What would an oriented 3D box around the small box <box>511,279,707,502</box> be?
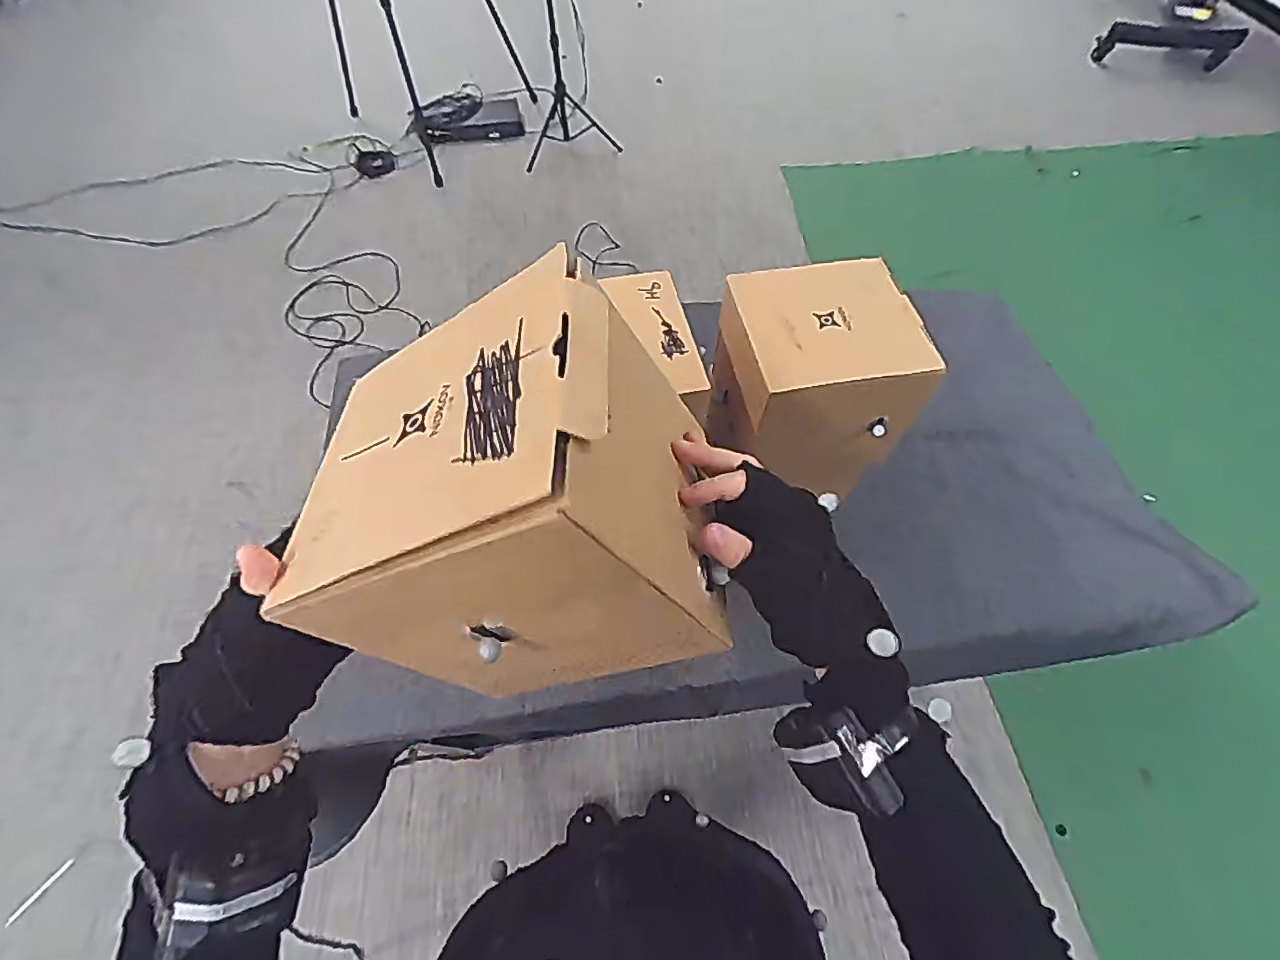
[{"bbox_3d":[-0.033,-0.092,0.606,0.179,0.176,0.168,-11,62,-5],"label":"small box"}]
